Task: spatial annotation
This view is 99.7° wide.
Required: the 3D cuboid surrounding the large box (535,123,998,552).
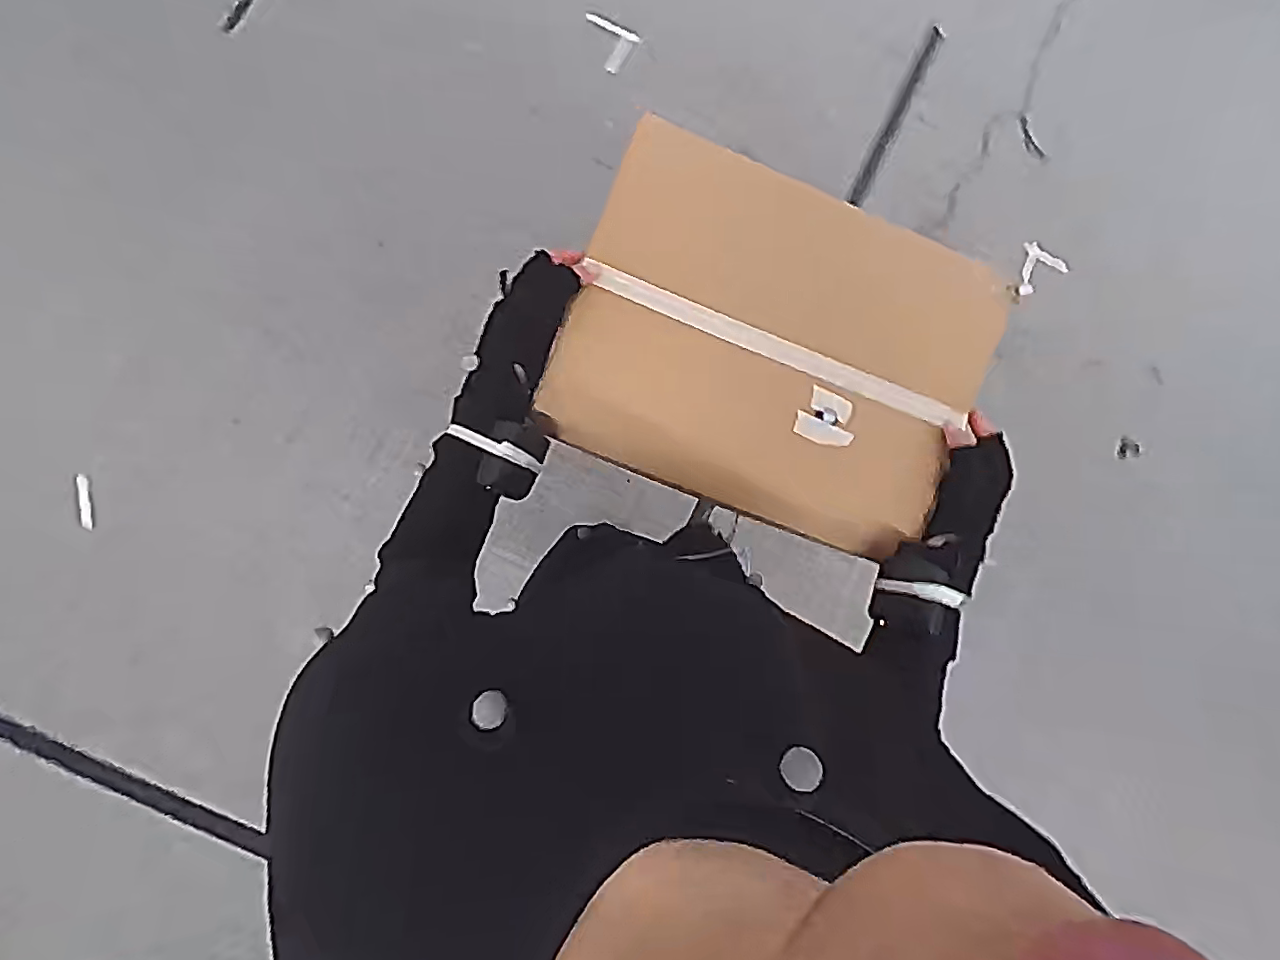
[{"bbox_3d":[0.118,-0.139,0.682,0.408,0.320,0.320,21,91,-6],"label":"large box"}]
